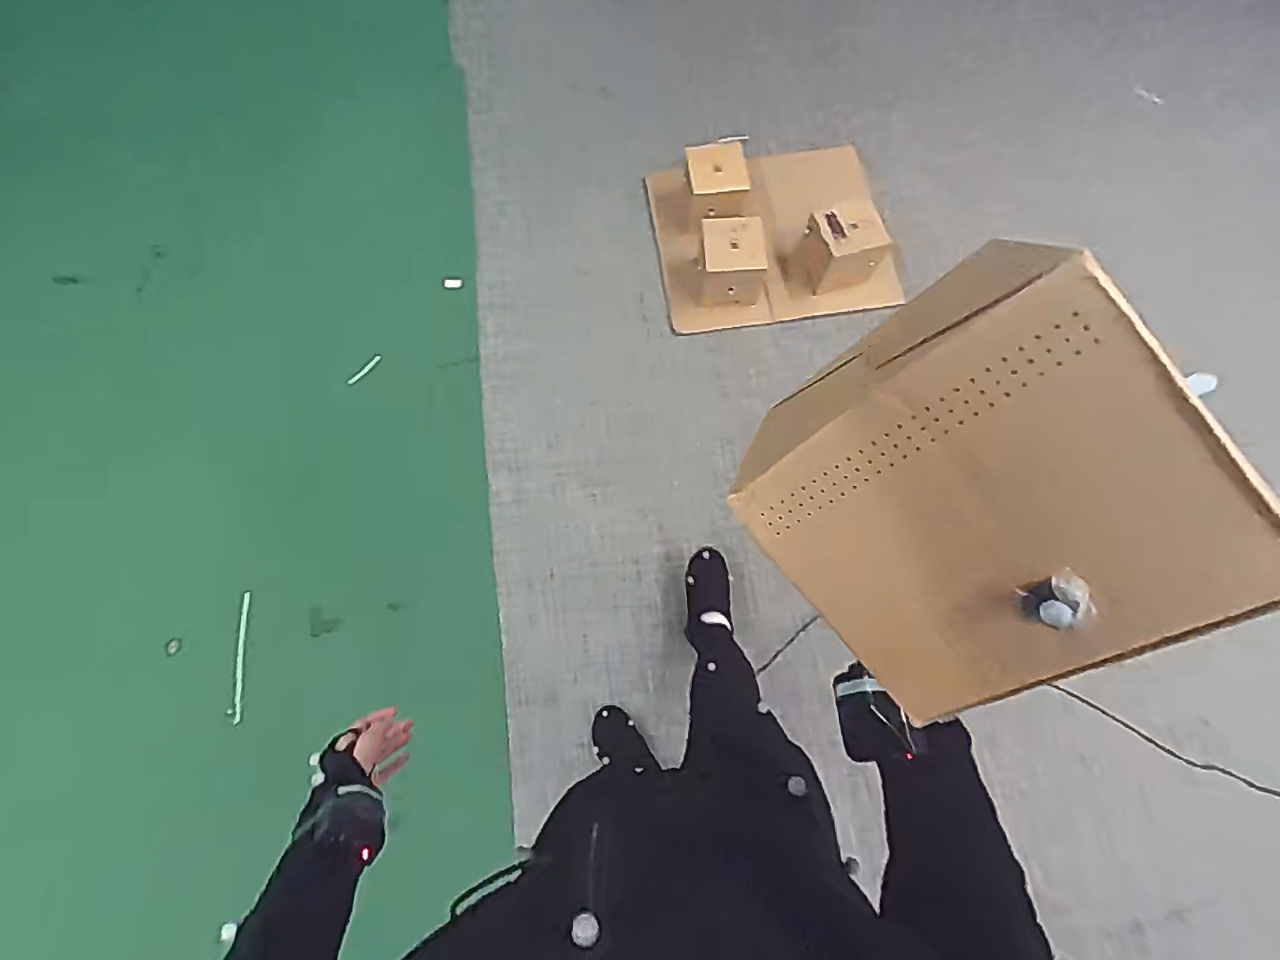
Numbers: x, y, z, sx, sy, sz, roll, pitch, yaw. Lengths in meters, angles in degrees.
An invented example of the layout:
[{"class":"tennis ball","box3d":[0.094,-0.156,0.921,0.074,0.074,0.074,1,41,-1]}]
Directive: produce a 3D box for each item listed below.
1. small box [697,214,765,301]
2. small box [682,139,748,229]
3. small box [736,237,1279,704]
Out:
[{"class":"small box","box3d":[0.255,-0.630,1.551,0.168,0.176,0.179,-2,73,-1]},{"class":"small box","box3d":[0.221,-0.881,1.628,0.168,0.176,0.179,-6,73,-2]},{"class":"small box","box3d":[0.184,-0.016,0.310,0.179,0.168,0.176,-38,95,31]}]
